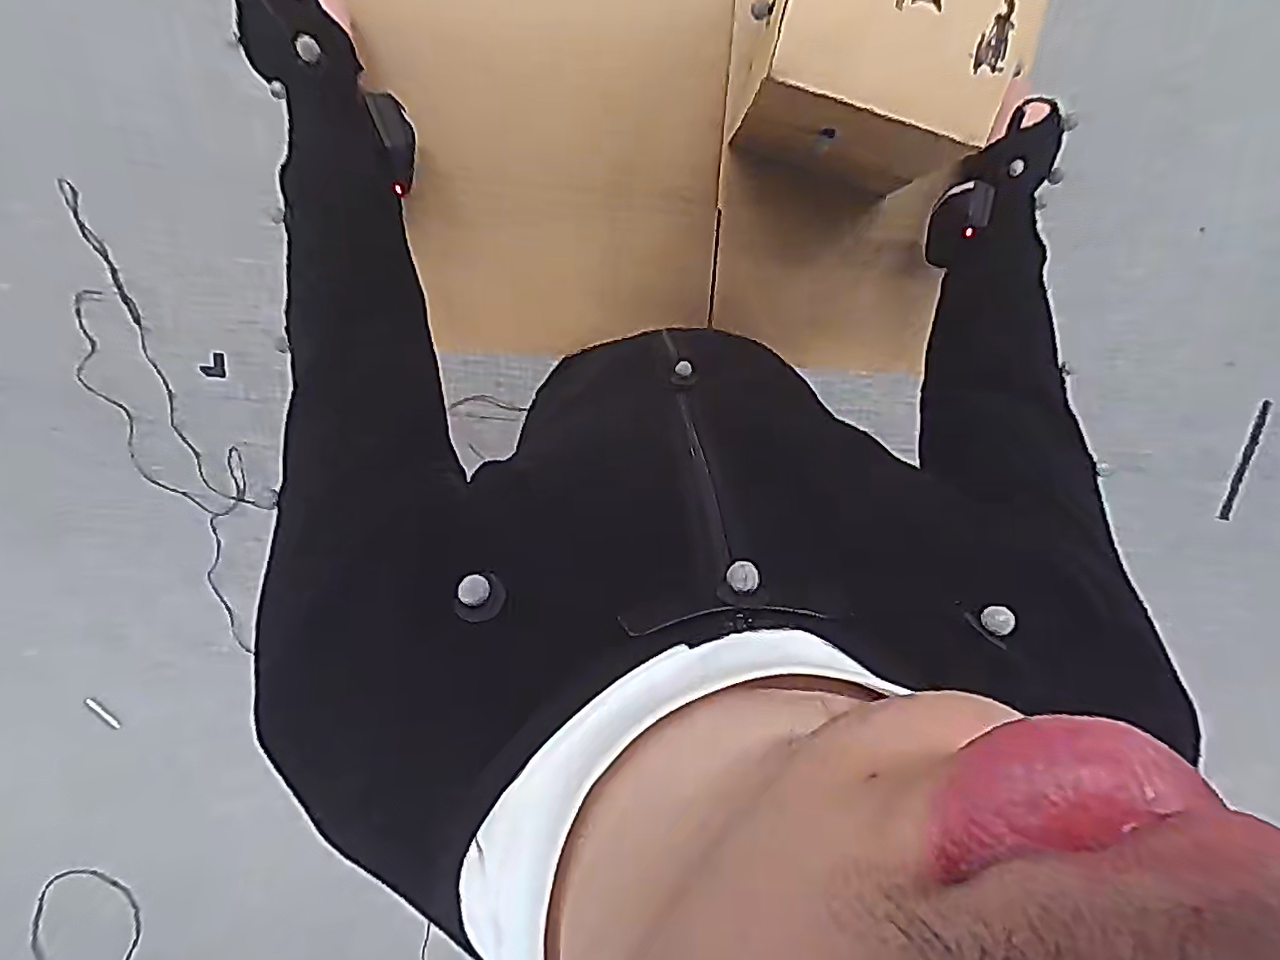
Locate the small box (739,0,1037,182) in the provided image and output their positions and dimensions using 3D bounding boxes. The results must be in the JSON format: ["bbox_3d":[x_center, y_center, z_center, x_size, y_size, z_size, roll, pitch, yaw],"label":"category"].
[{"bbox_3d":[0.197,-0.376,0.457,0.179,0.176,0.168,15,107,-4],"label":"small box"}]
